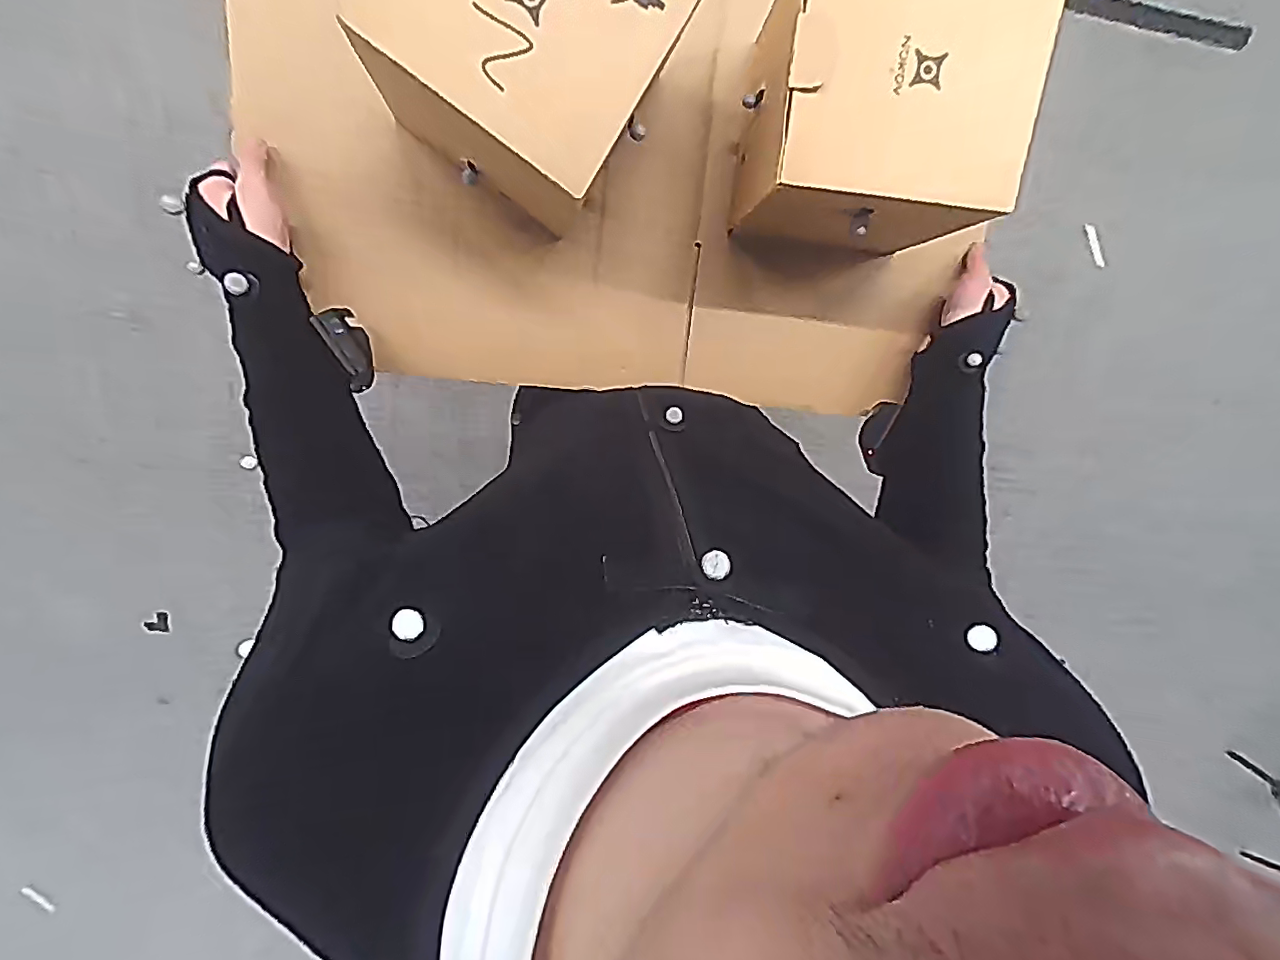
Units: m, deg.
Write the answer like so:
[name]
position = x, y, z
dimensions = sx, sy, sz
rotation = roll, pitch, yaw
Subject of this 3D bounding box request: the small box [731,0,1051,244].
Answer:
[small box]
position = 0.189, -0.307, 0.459
dimensions = 0.179, 0.176, 0.168
rotation = 5, 104, -3
